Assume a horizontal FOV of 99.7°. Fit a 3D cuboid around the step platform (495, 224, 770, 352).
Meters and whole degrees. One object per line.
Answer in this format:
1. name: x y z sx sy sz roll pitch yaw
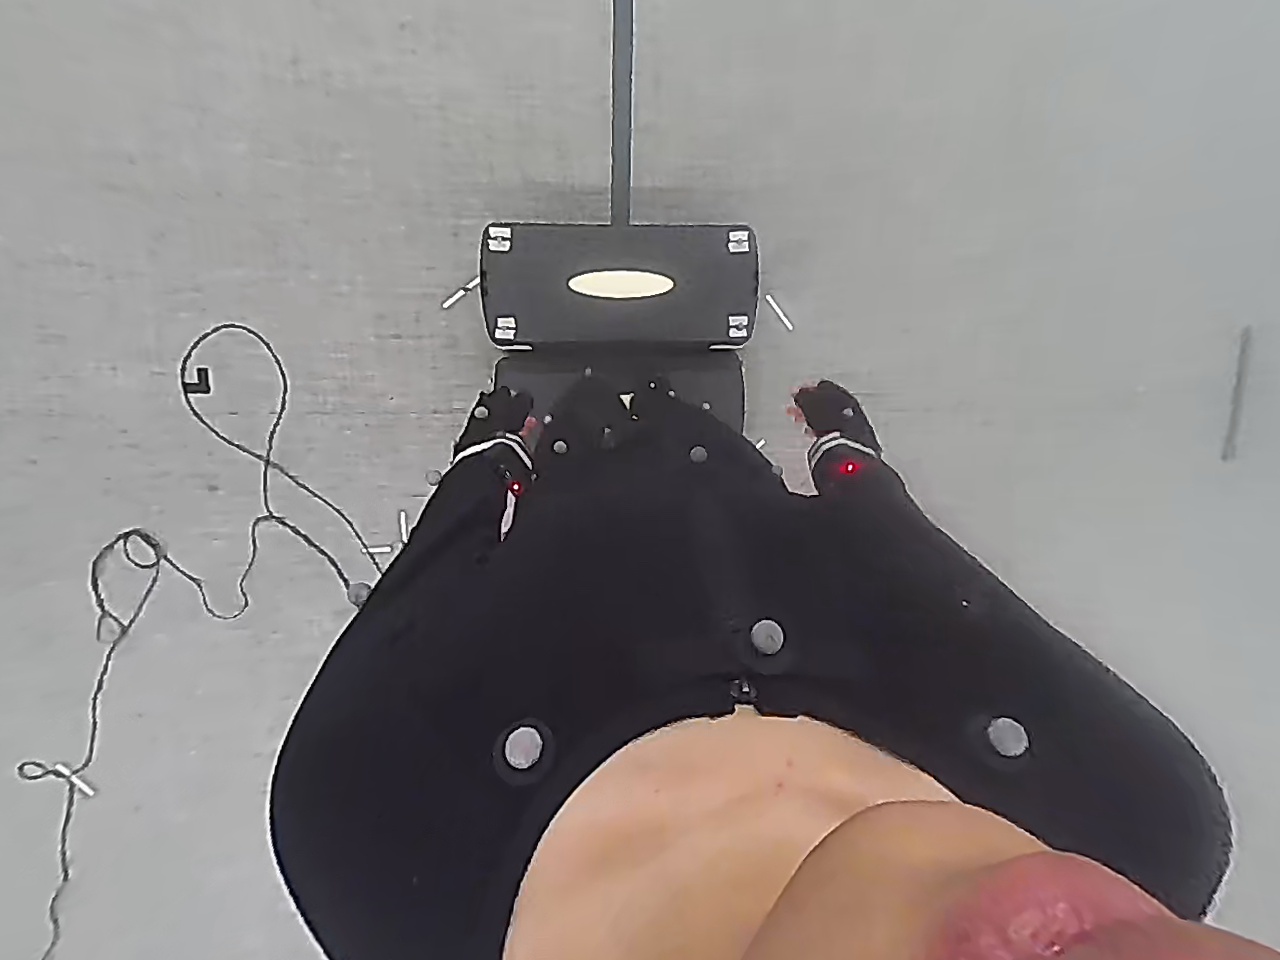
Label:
1. step platform: -0.018 -0.484 1.381 0.684 0.204 0.286 -2 100 -4
